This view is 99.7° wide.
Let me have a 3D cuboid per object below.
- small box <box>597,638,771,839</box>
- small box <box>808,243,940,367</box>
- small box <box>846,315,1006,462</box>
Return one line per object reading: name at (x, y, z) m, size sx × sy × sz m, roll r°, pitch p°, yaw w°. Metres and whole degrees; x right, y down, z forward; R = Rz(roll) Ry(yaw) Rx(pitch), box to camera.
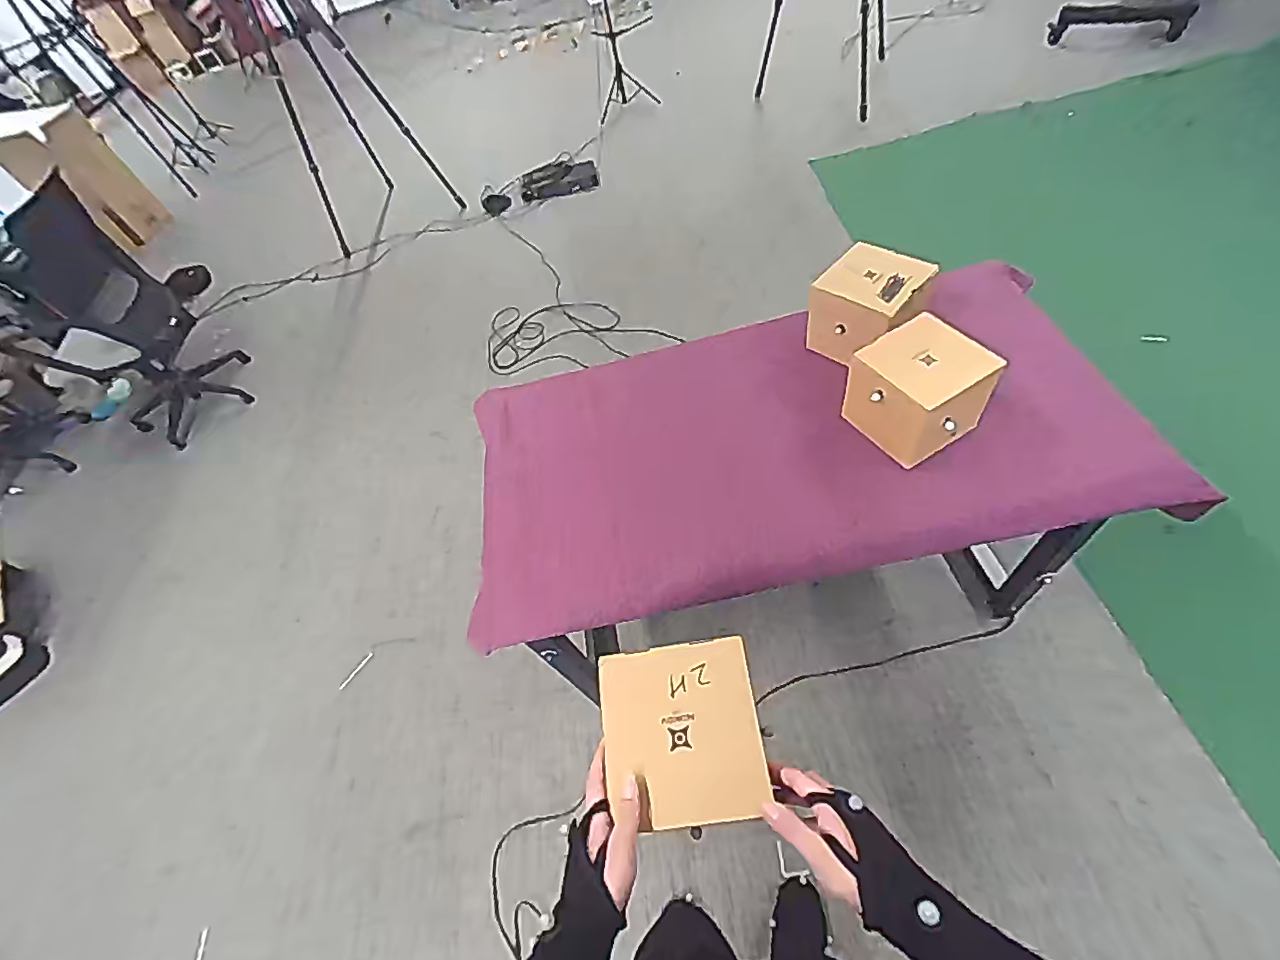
small box at (0.053, 0.298, 0.627) m, size 0.168 × 0.176 × 0.179 m, roll -10°, pitch 60°, yaw 5°
small box at (0.467, -0.344, 1.104) m, size 0.168 × 0.176 × 0.179 m, roll -43°, pitch 57°, yaw -16°
small box at (0.497, -0.155, 0.970) m, size 0.168 × 0.176 × 0.179 m, roll -30°, pitch 54°, yaw -8°
